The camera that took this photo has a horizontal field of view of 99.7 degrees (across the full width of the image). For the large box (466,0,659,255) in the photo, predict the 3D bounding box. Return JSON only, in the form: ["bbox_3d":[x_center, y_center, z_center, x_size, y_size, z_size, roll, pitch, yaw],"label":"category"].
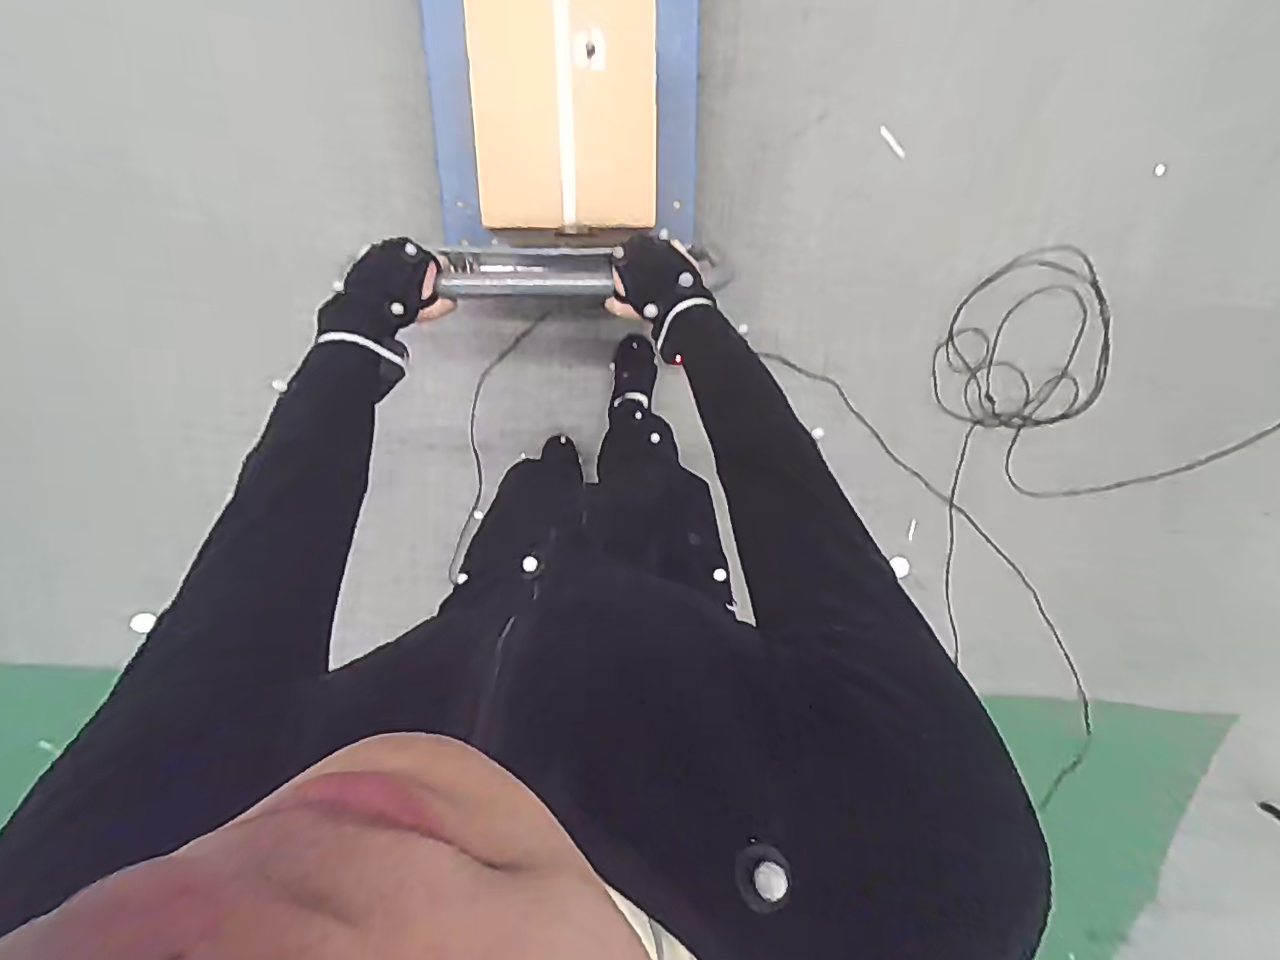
[{"bbox_3d":[-0.132,-0.680,1.065,0.320,0.320,0.408,-1,106,-3],"label":"large box"}]
